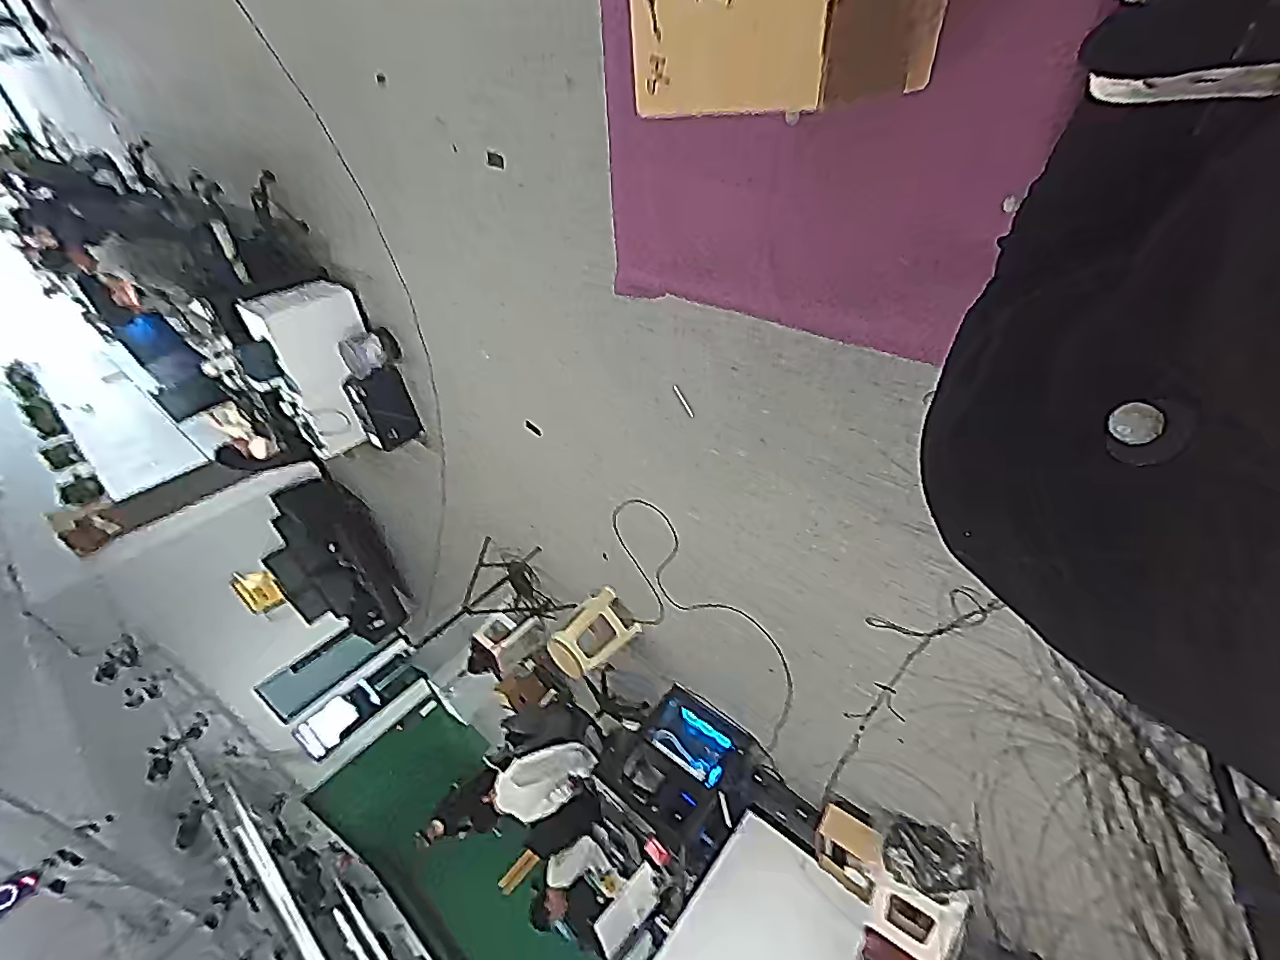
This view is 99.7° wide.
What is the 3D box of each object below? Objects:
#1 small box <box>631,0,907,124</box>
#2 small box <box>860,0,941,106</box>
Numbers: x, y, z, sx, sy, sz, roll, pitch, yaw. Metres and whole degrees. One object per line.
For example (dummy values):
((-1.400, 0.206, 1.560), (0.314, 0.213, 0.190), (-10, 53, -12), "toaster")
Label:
((0.111, -0.397, 0.438), (0.179, 0.176, 0.168), (24, 136, 33), "small box")
((0.197, -0.488, 0.547), (0.179, 0.176, 0.168), (26, 137, 33), "small box")
